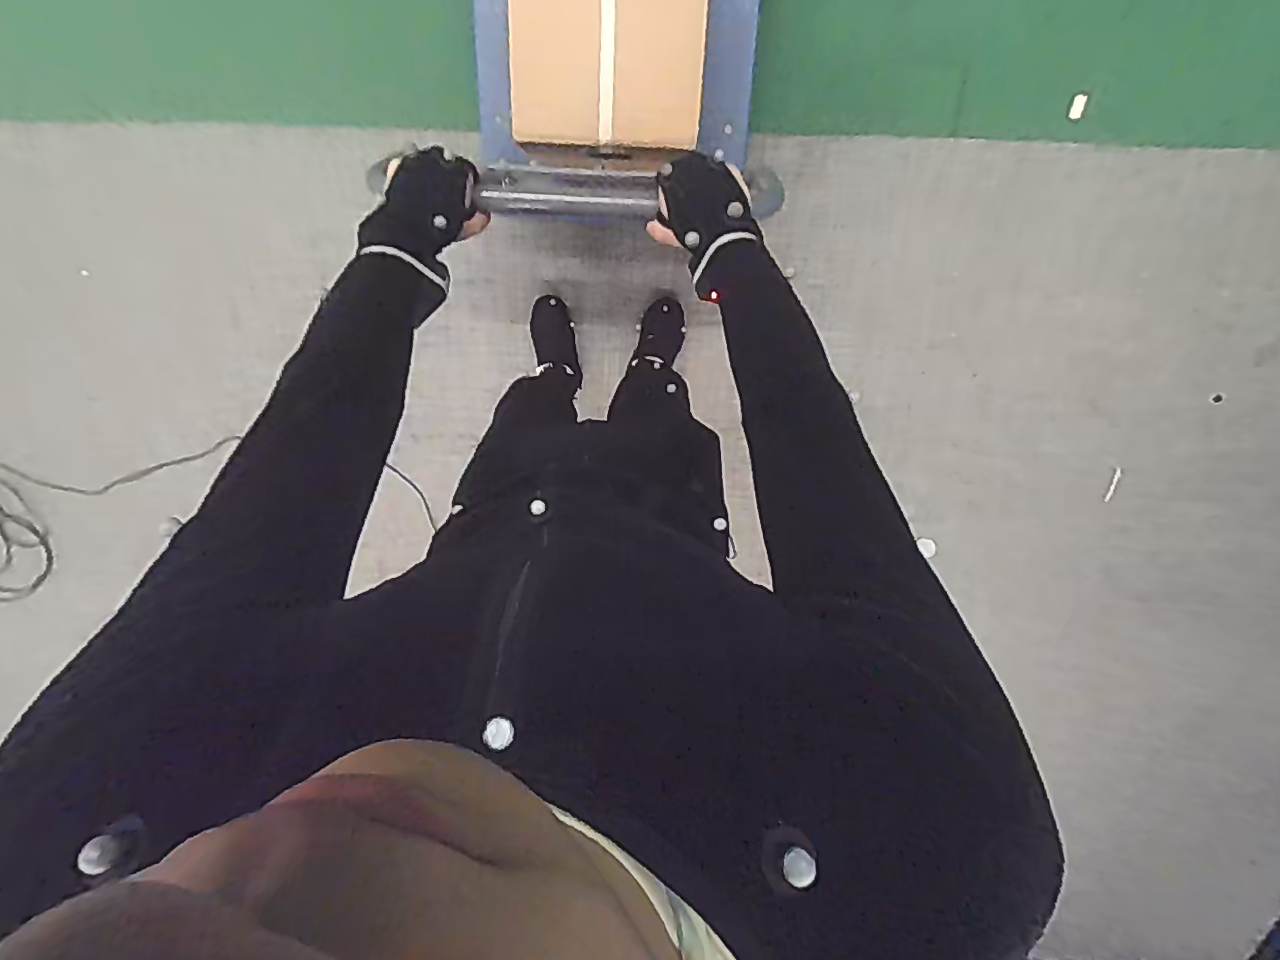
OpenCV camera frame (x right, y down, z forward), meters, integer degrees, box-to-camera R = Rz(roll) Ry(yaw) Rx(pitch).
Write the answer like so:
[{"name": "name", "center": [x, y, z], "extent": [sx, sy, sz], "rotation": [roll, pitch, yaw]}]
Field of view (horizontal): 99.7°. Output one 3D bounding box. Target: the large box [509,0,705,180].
[{"name": "large box", "center": [-0.047, -0.796, 0.987], "extent": [0.320, 0.320, 0.408], "rotation": [3, 112, 0]}]
